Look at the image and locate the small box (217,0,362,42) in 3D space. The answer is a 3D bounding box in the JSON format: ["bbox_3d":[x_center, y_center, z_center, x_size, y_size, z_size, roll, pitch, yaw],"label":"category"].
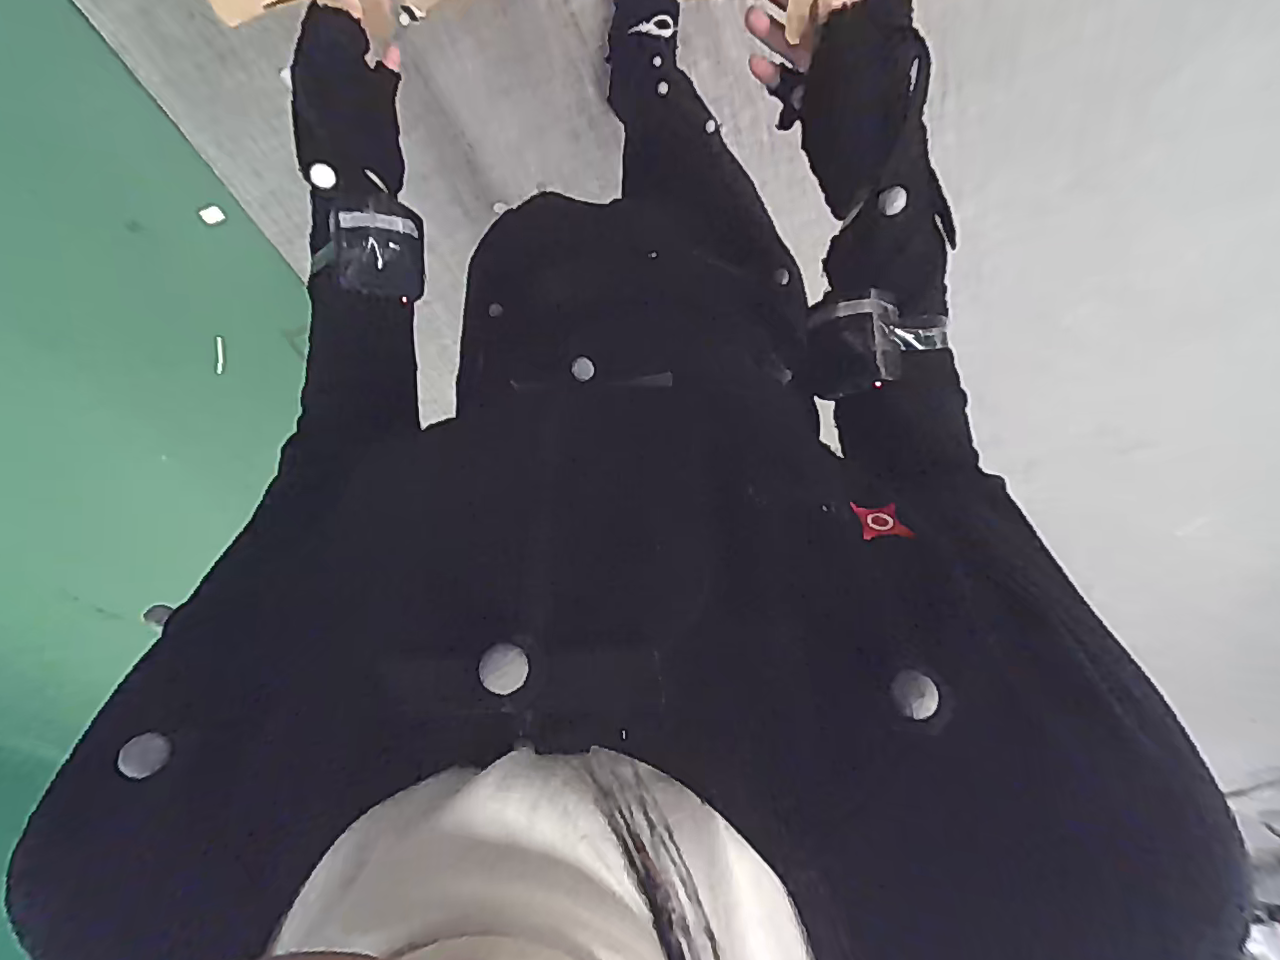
[{"bbox_3d":[-0.229,-0.439,0.360,0.168,0.176,0.179,-16,133,12],"label":"small box"}]
